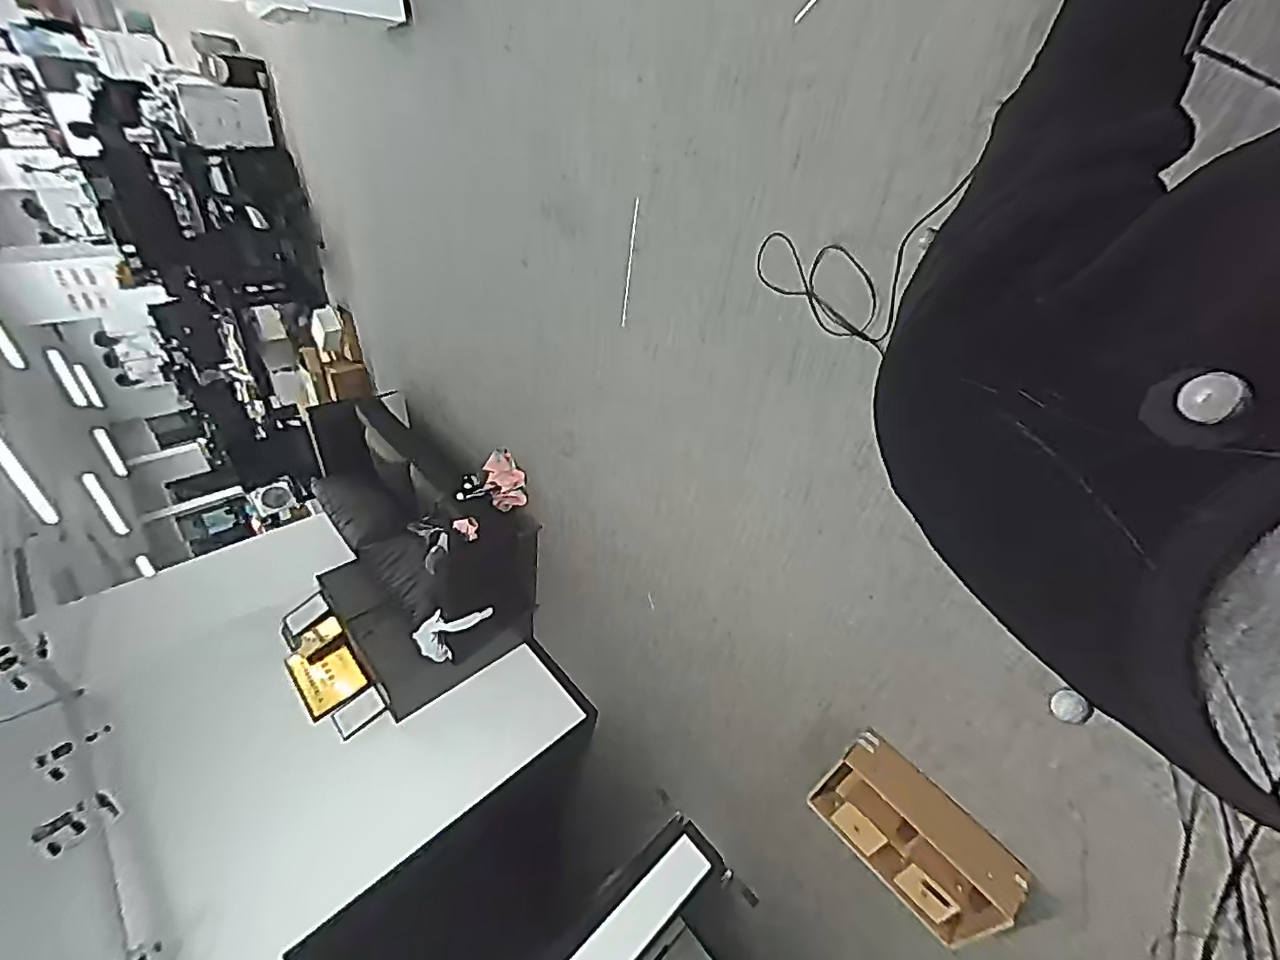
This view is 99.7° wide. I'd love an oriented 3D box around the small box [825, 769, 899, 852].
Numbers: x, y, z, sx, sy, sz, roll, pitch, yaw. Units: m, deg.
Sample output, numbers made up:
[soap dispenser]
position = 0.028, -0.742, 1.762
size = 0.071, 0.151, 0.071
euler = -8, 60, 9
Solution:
[small box]
position = 0.825, 1.221, 2.003
size = 0.168, 0.176, 0.179
euler = 39, 135, 28
